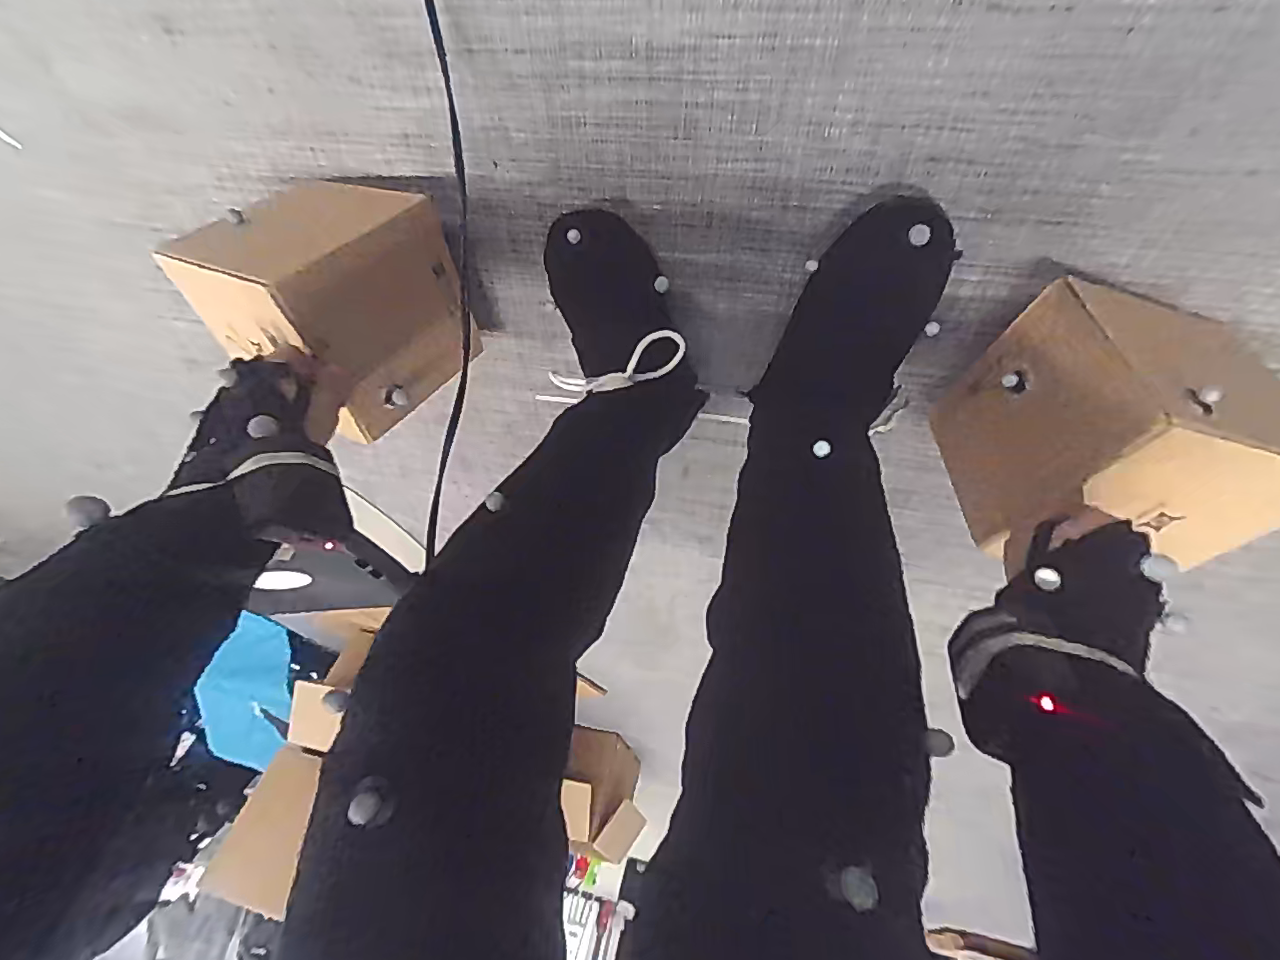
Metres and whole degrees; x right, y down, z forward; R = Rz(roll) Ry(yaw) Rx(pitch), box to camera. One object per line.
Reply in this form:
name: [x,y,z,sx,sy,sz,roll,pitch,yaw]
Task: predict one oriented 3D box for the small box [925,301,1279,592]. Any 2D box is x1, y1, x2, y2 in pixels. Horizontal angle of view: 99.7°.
small box: [0.386,-0.025,0.457,0.179,0.176,0.168,10,142,-11]
